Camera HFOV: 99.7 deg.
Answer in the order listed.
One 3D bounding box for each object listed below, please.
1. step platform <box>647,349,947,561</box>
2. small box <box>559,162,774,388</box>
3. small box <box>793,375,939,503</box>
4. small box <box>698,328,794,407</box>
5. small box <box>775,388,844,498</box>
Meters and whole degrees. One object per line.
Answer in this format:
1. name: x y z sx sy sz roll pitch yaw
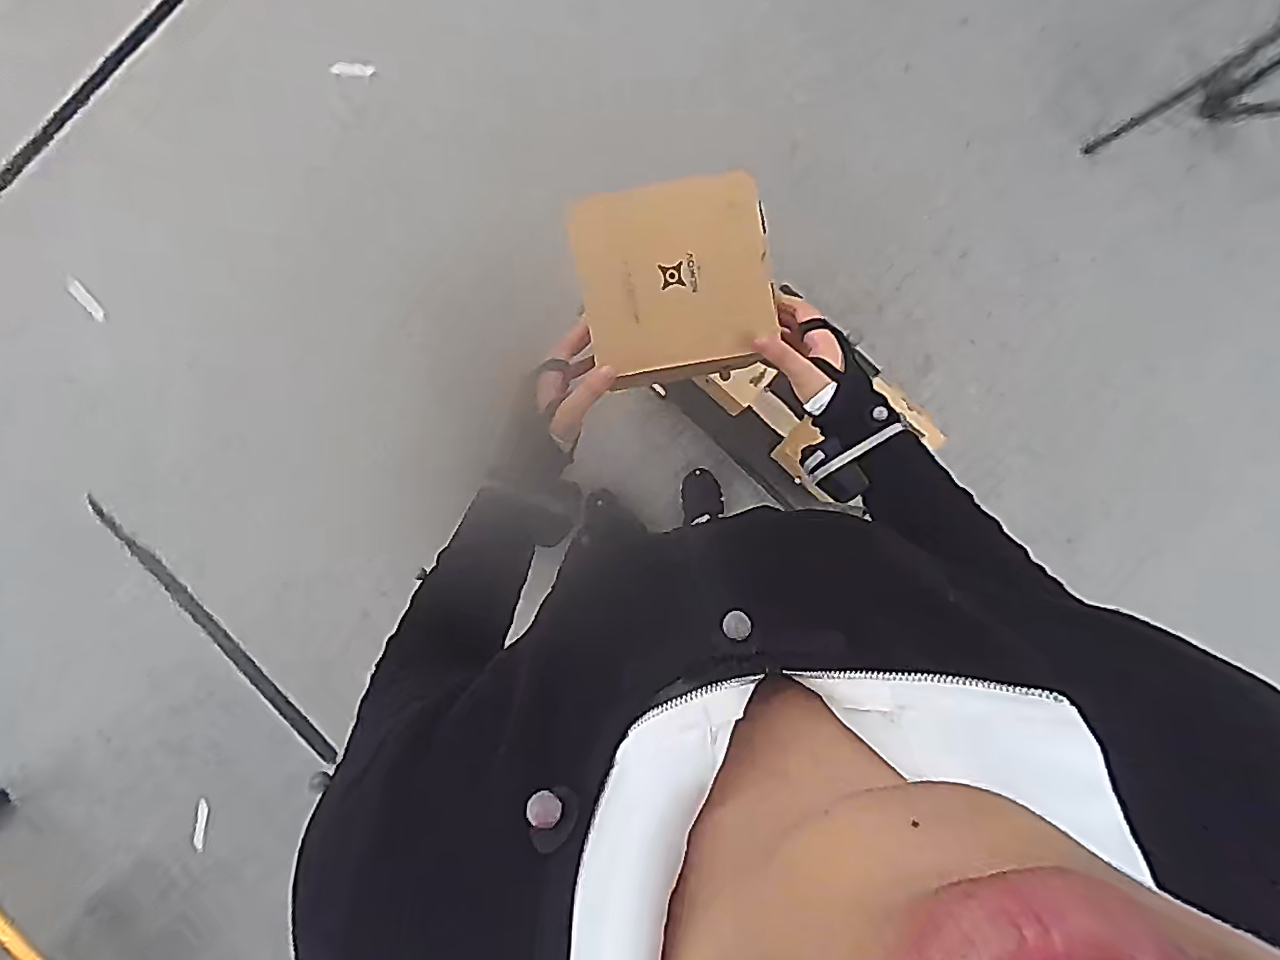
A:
1. step platform: 0.301 -0.144 1.187 0.684 0.204 0.286 44 91 1
2. small box: 0.025 -0.199 0.575 0.179 0.176 0.168 -12 94 1
3. small box: 0.425 -0.075 1.053 0.168 0.176 0.179 43 92 2
4. small box: 0.212 -0.280 1.225 0.179 0.176 0.168 42 92 2
5. small box: 0.422 -0.080 1.217 0.168 0.176 0.179 43 92 2
